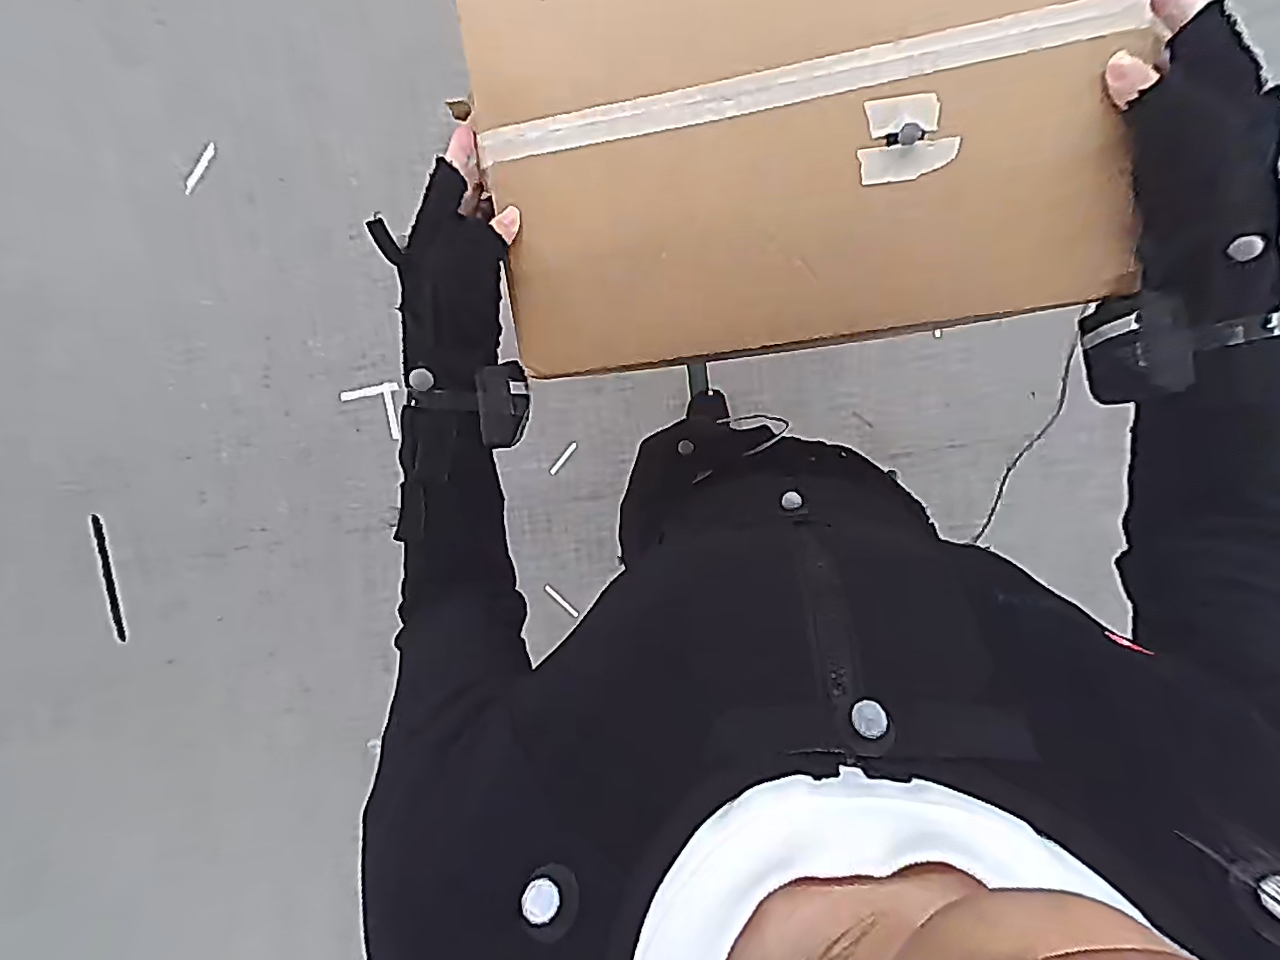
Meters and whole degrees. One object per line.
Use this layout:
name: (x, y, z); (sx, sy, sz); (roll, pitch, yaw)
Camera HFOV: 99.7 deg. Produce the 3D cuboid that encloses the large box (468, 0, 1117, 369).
large box: (0.106, -0.287, 0.498); (0.408, 0.320, 0.320); (-7, 102, 7)
